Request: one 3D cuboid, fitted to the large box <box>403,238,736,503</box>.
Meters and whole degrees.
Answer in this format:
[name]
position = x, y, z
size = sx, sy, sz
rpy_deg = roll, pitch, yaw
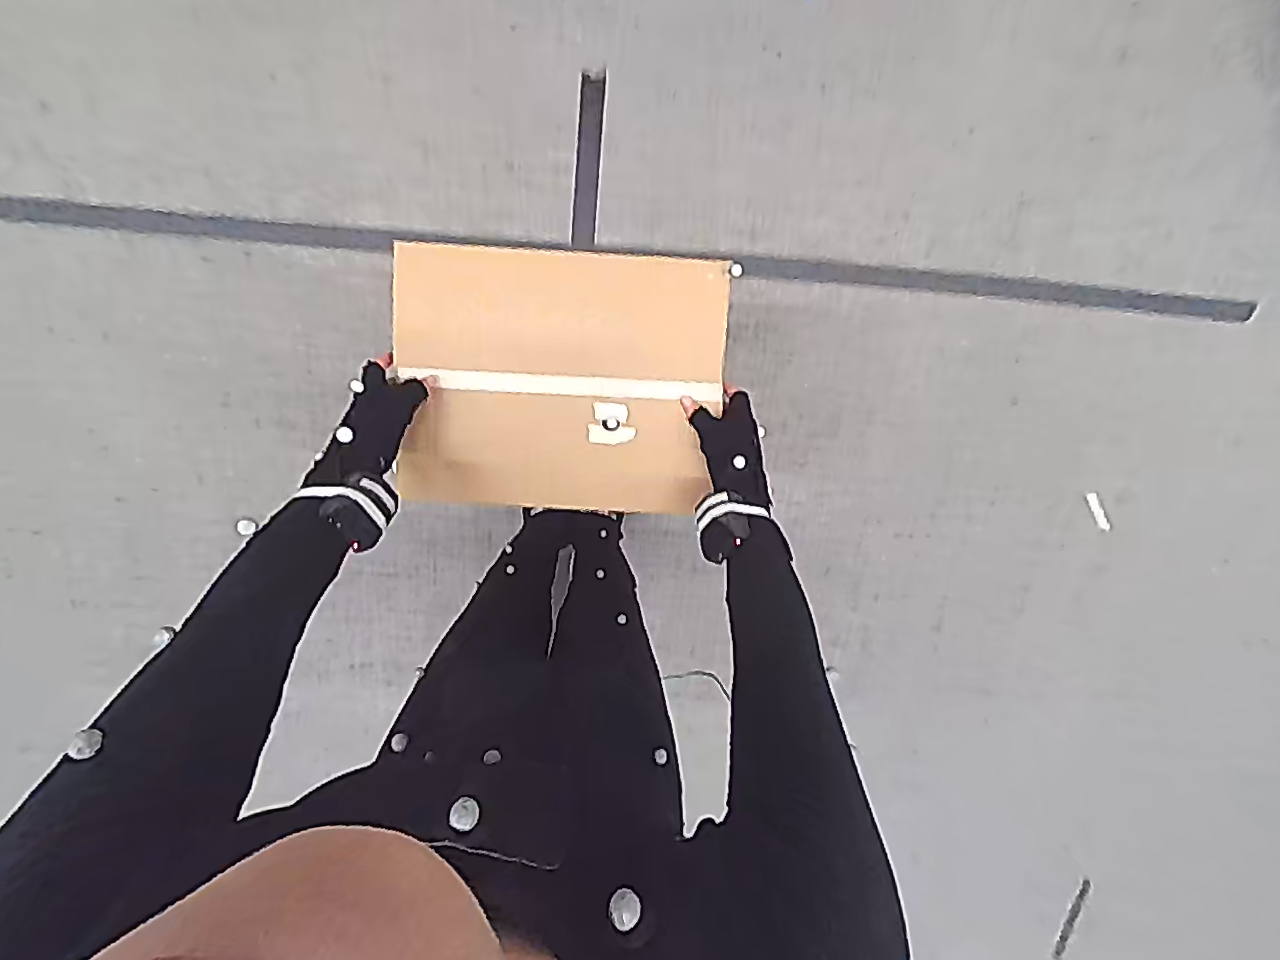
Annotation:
[large box]
position = -0.094, -0.147, 0.810
size = 0.408, 0.320, 0.320
rpy_deg = 3, 99, -2
